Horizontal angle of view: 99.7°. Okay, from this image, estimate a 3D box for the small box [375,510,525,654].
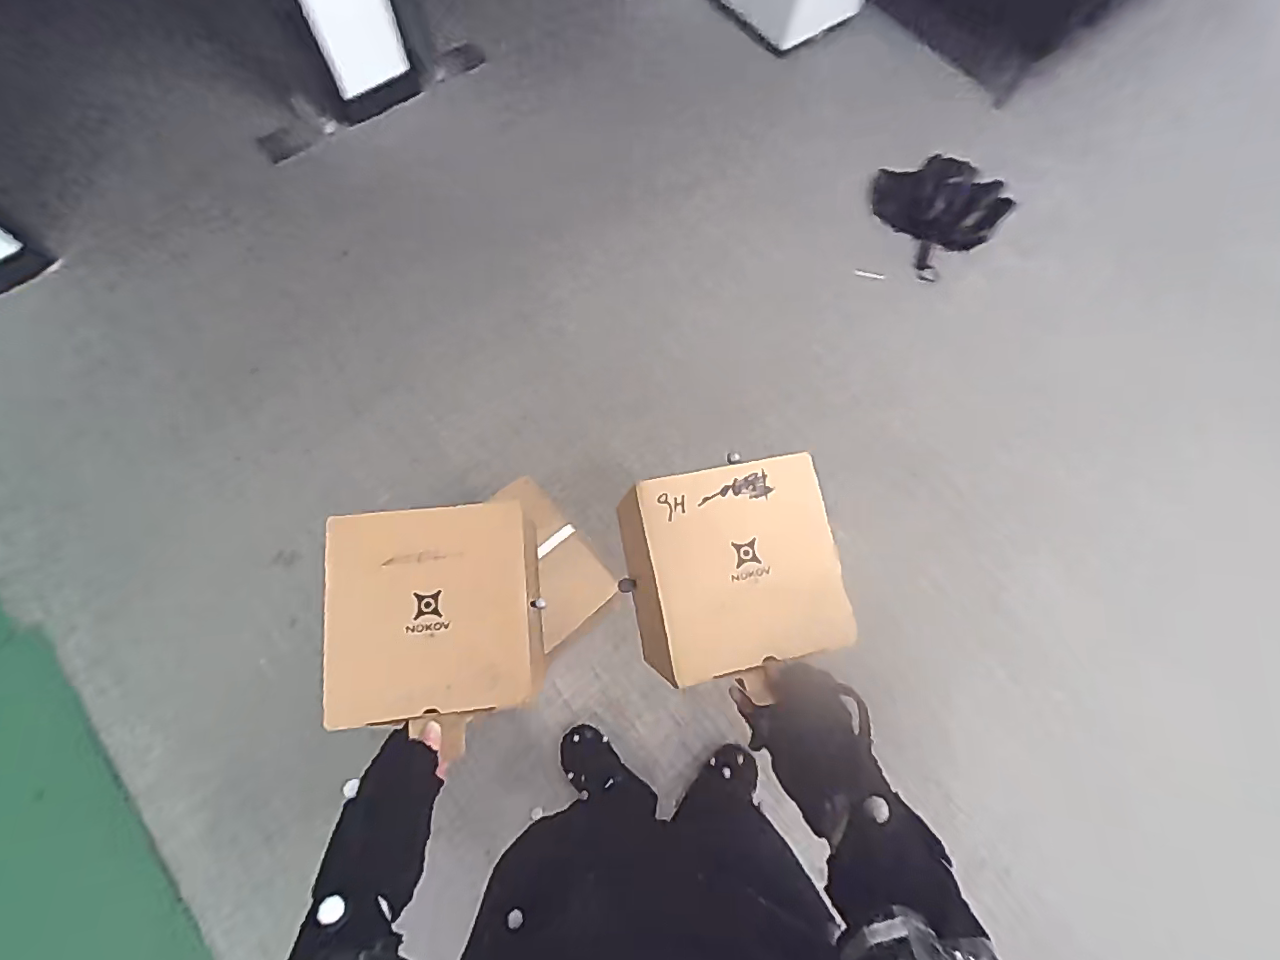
[{"bbox_3d":[-0.311,0.177,0.928,0.179,0.176,0.168,-32,79,-15],"label":"small box"}]
